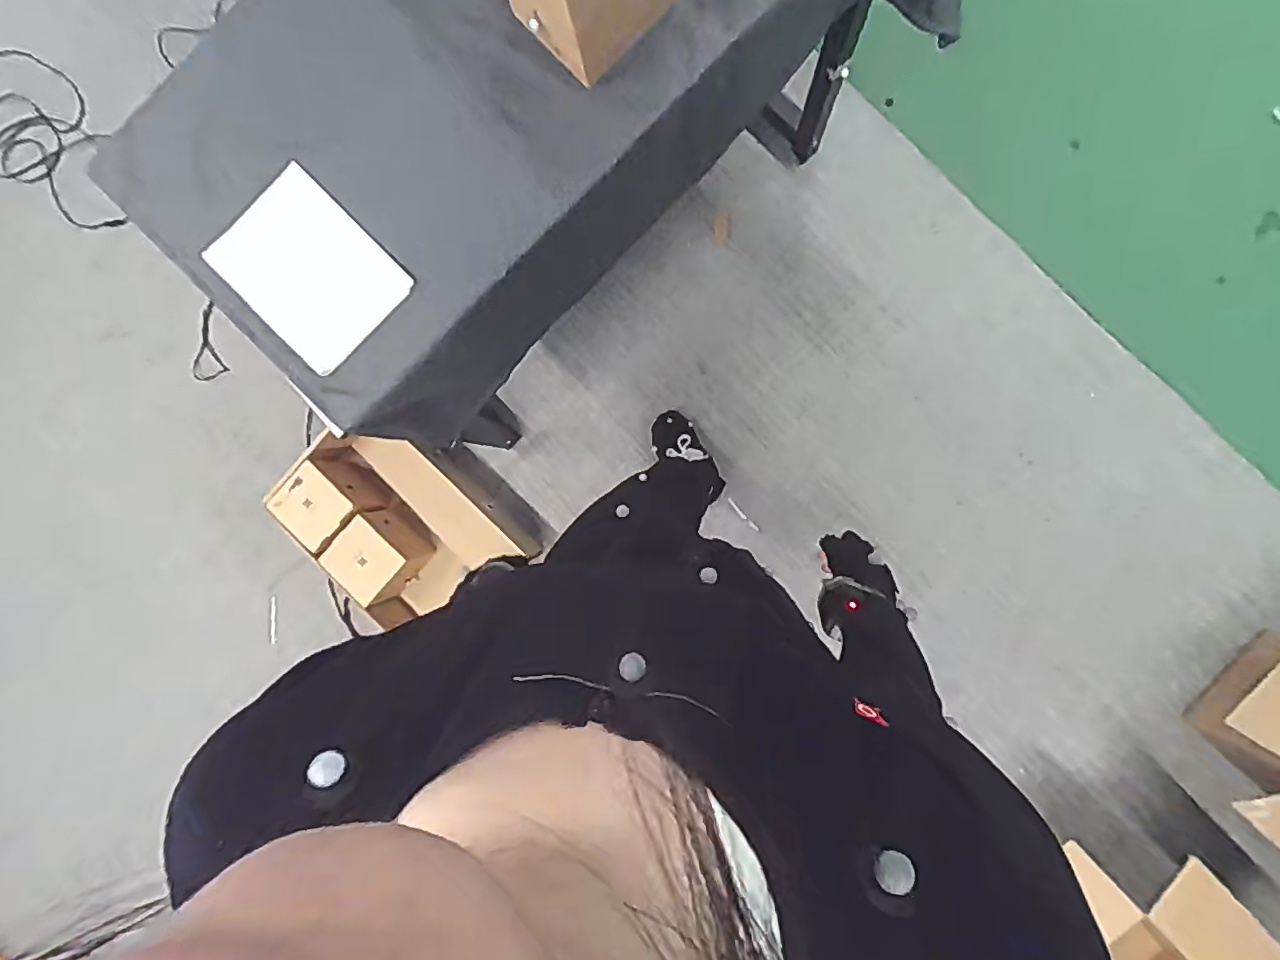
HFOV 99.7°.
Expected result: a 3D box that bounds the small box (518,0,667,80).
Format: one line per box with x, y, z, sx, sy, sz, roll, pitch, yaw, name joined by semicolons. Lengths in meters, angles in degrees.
-0.070;-0.676;0.684;0.179;0.176;0.168;-43;85;4;small box
